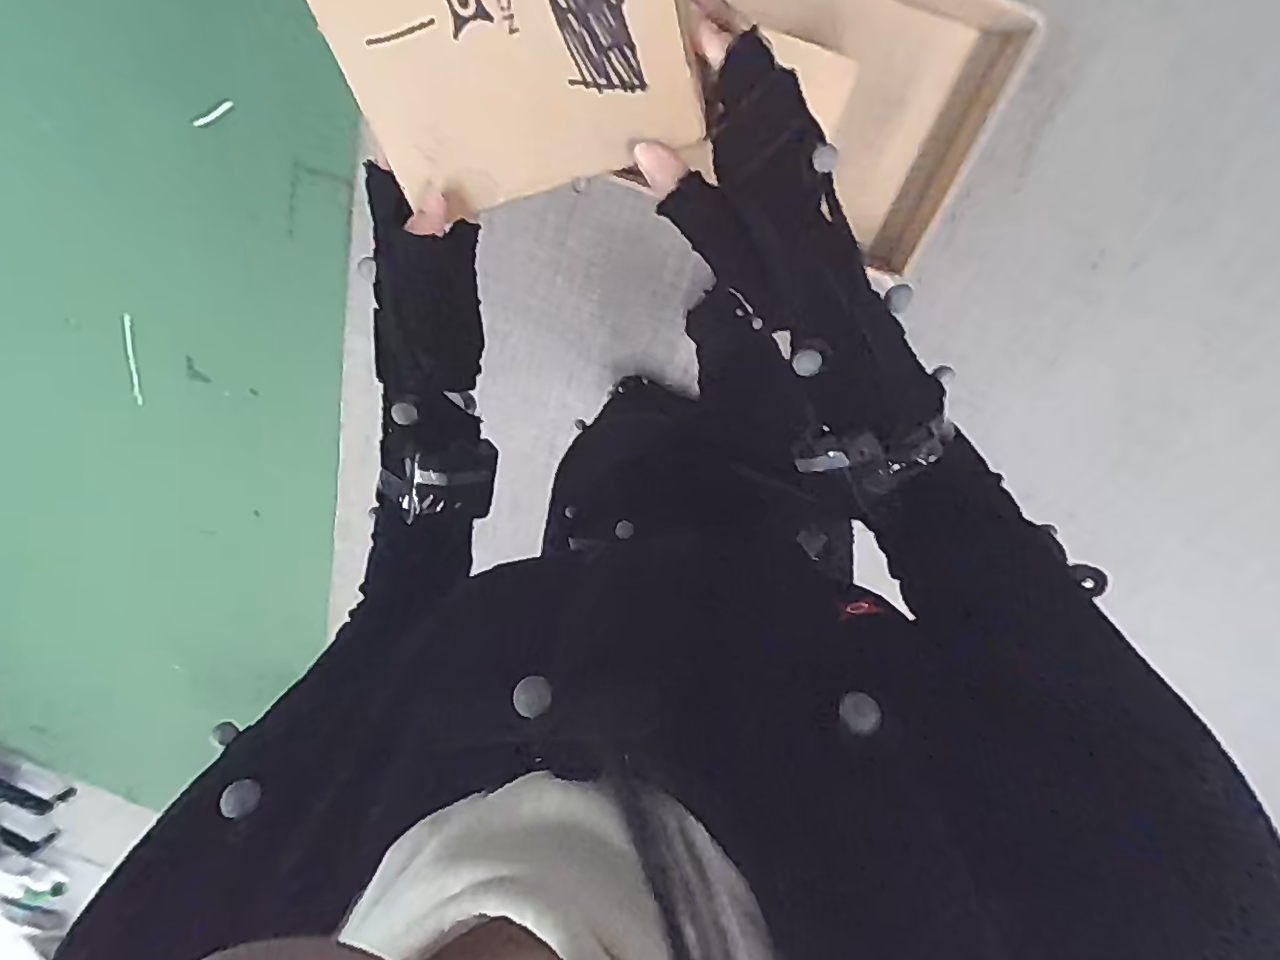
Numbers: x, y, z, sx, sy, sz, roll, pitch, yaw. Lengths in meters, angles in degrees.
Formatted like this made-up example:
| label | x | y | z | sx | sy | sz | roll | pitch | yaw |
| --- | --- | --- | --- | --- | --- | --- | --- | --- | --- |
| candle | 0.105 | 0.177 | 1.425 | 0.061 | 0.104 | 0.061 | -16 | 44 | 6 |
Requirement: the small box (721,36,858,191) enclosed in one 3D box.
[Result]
| label | x | y | z | sx | sy | sz | roll | pitch | yaw |
| --- | --- | --- | --- | --- | --- | --- | --- | --- | --- |
| small box | 0.253 | -0.628 | 0.946 | 0.168 | 0.176 | 0.179 | 19 | 121 | 0 |

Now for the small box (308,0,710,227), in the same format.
| label | x | y | z | sx | sy | sz | roll | pitch | yaw |
| --- | --- | --- | --- | --- | --- | --- | --- | --- | --- |
| small box | -0.061 | -0.277 | 0.320 | 0.179 | 0.176 | 0.168 | -5 | 127 | 21 |
